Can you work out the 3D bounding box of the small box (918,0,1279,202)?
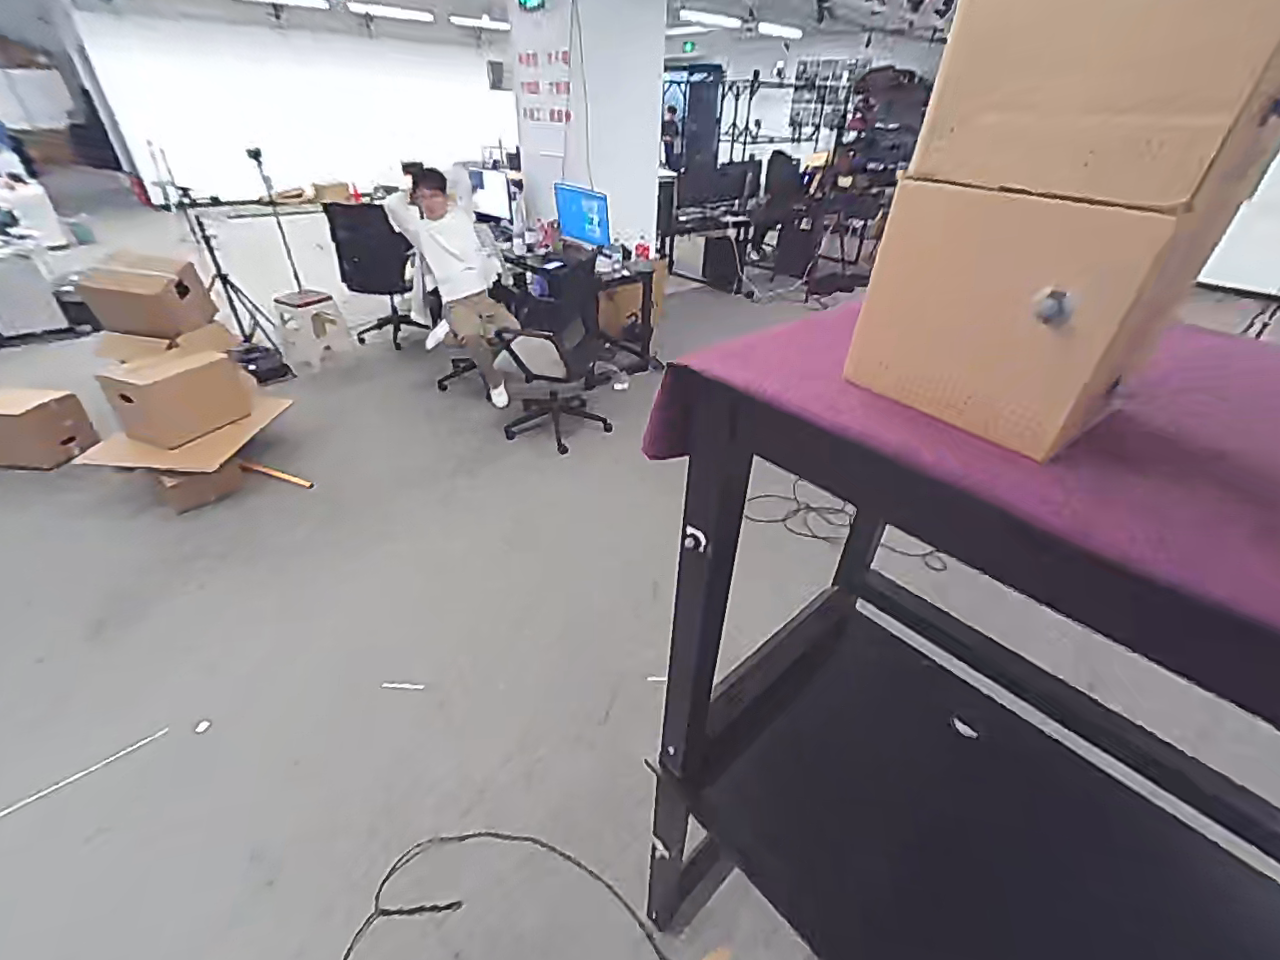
[{"bbox_3d":[0.319,-0.284,0.348,0.168,0.176,0.179,-21,42,-31],"label":"small box"}]
